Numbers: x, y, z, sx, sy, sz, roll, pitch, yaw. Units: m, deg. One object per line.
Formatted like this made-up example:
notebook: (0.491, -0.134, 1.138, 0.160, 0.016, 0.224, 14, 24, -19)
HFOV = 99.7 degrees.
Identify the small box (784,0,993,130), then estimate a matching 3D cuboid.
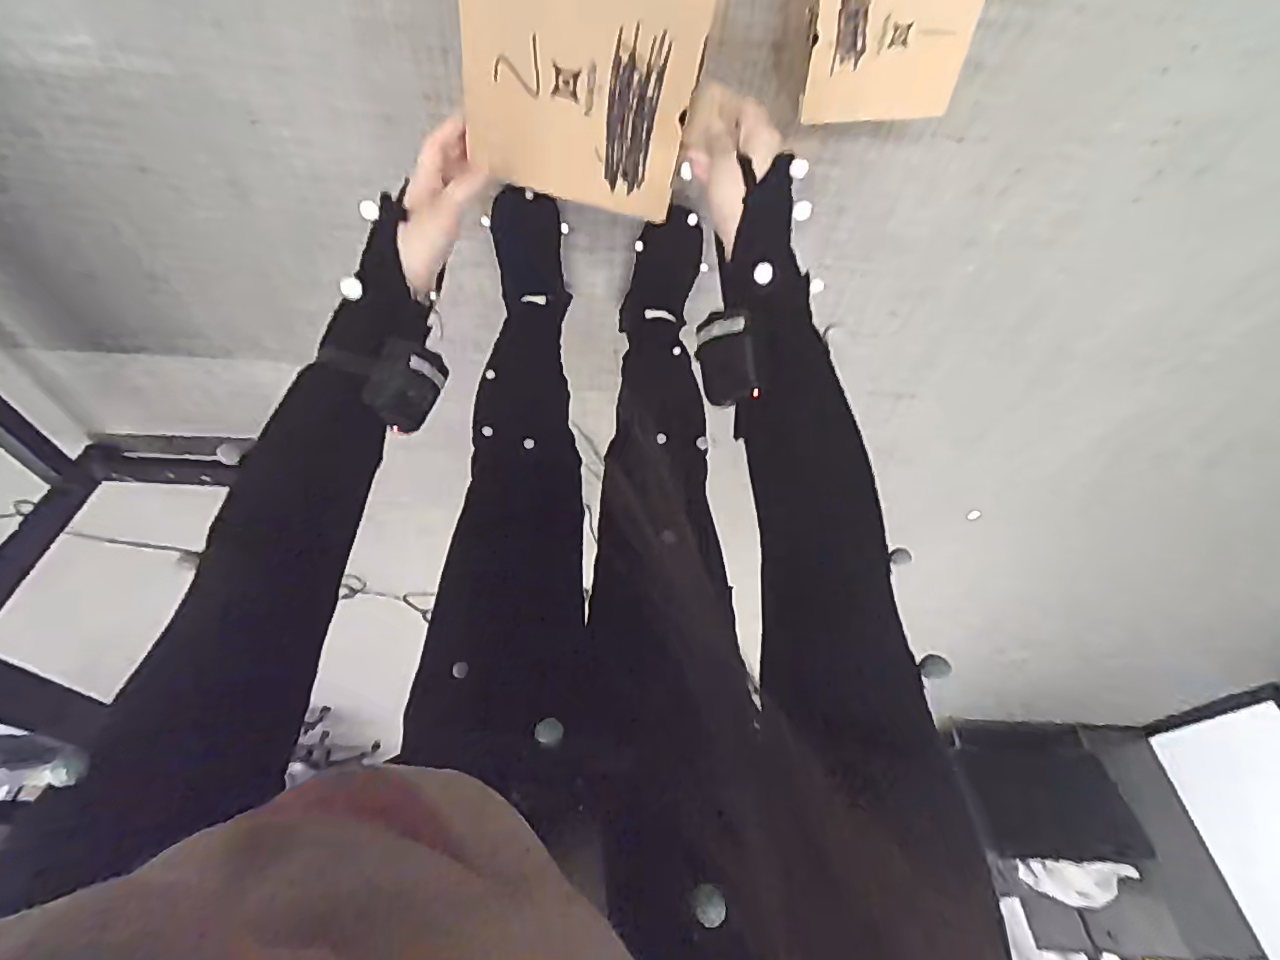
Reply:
small box: (0.275, -0.530, 0.627, 0.179, 0.176, 0.168, -2, 142, 2)
